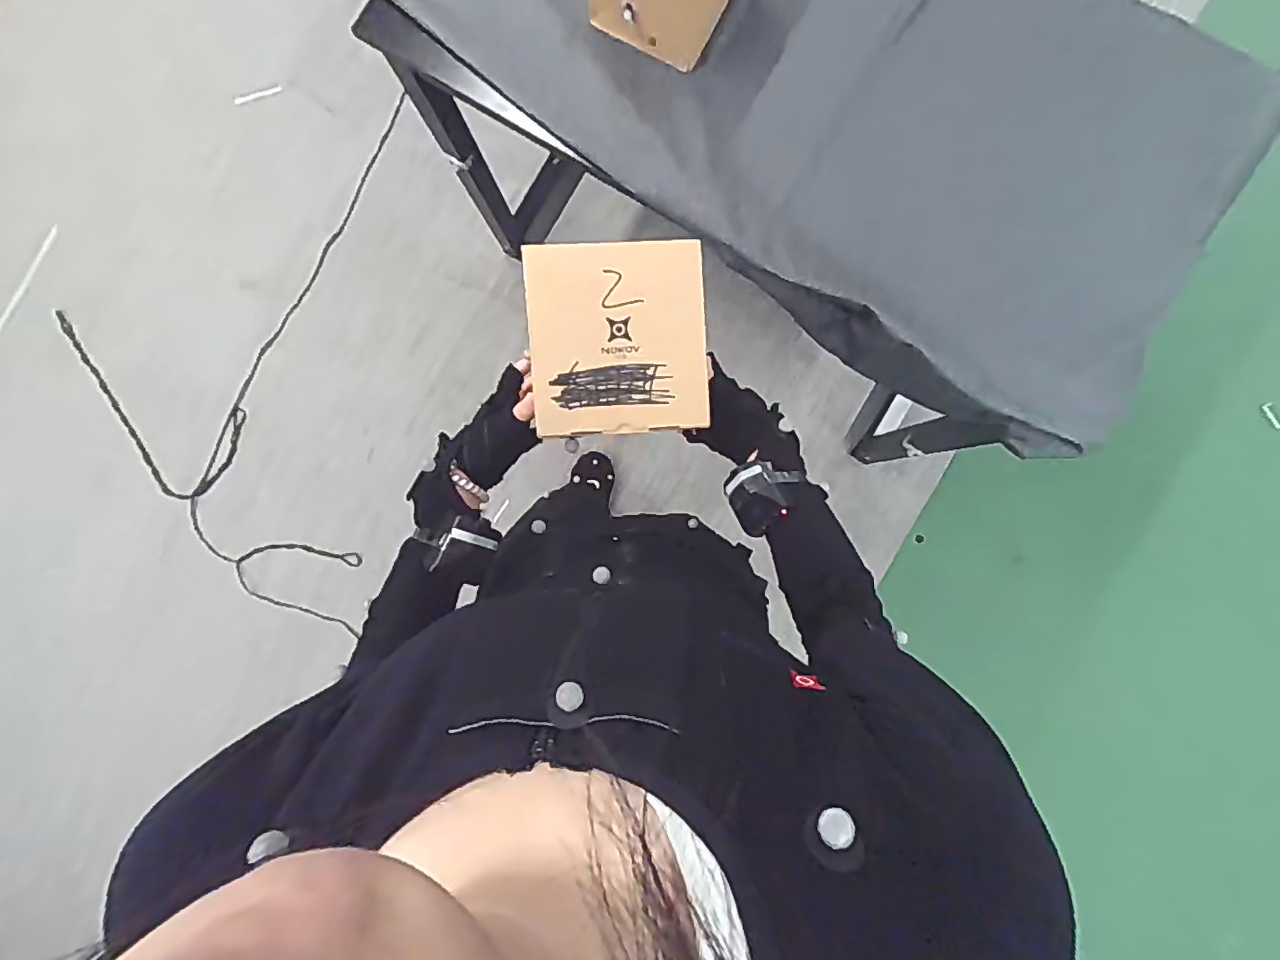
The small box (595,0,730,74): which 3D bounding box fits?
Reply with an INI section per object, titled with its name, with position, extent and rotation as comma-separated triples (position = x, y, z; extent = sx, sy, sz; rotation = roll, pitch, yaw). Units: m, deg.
[small box]
position = 0.040, -0.708, 0.718
extent = 0.168, 0.176, 0.179
rotation = 28, 89, 1
